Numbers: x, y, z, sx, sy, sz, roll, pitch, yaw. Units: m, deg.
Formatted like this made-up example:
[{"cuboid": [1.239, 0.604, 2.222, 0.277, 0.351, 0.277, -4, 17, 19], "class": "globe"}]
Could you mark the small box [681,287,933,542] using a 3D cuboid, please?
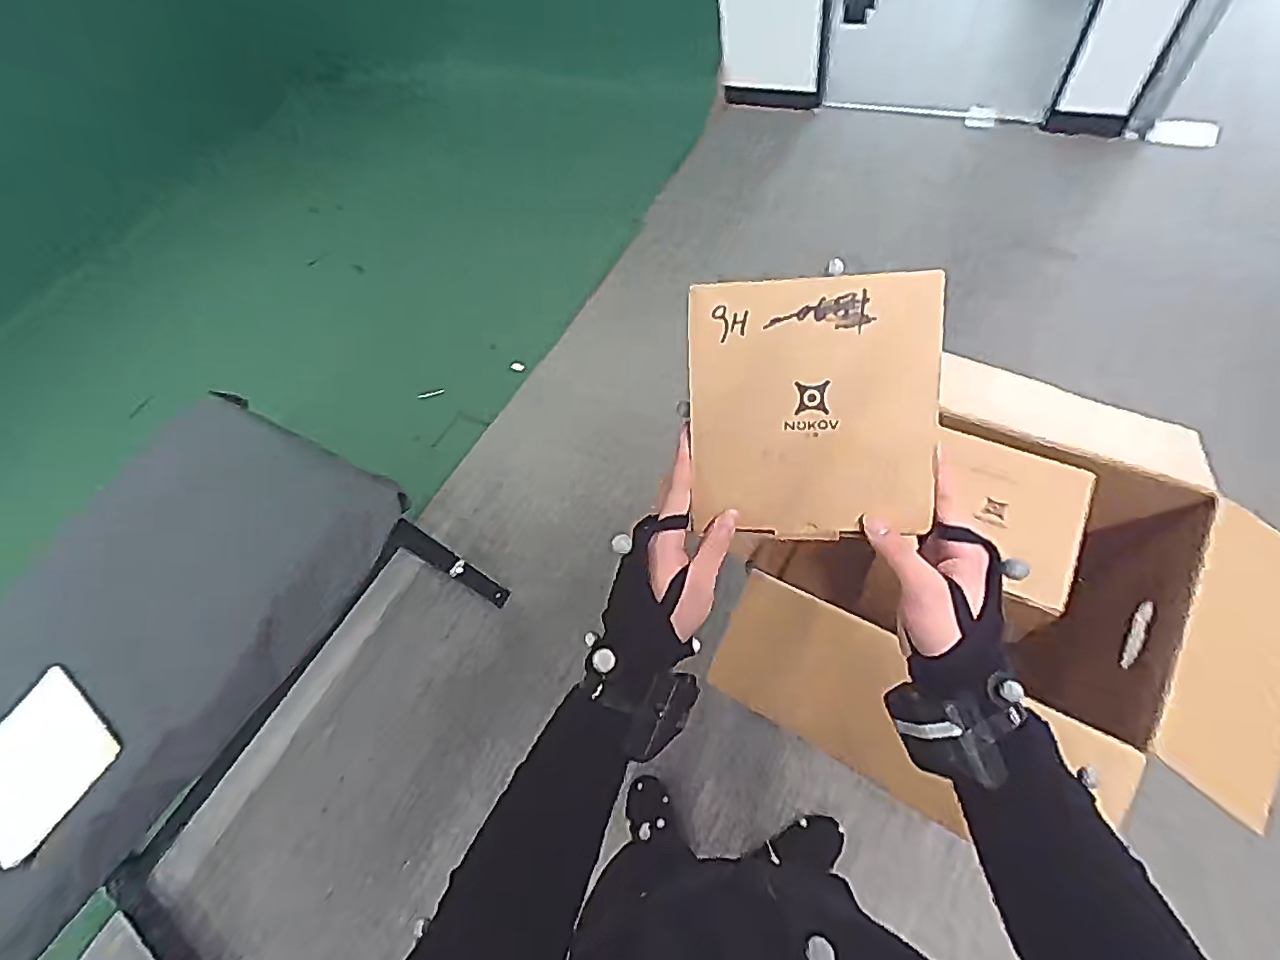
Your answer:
[{"cuboid": [0.120, -0.057, 0.453, 0.168, 0.176, 0.179, -1, 101, 6], "class": "small box"}]
